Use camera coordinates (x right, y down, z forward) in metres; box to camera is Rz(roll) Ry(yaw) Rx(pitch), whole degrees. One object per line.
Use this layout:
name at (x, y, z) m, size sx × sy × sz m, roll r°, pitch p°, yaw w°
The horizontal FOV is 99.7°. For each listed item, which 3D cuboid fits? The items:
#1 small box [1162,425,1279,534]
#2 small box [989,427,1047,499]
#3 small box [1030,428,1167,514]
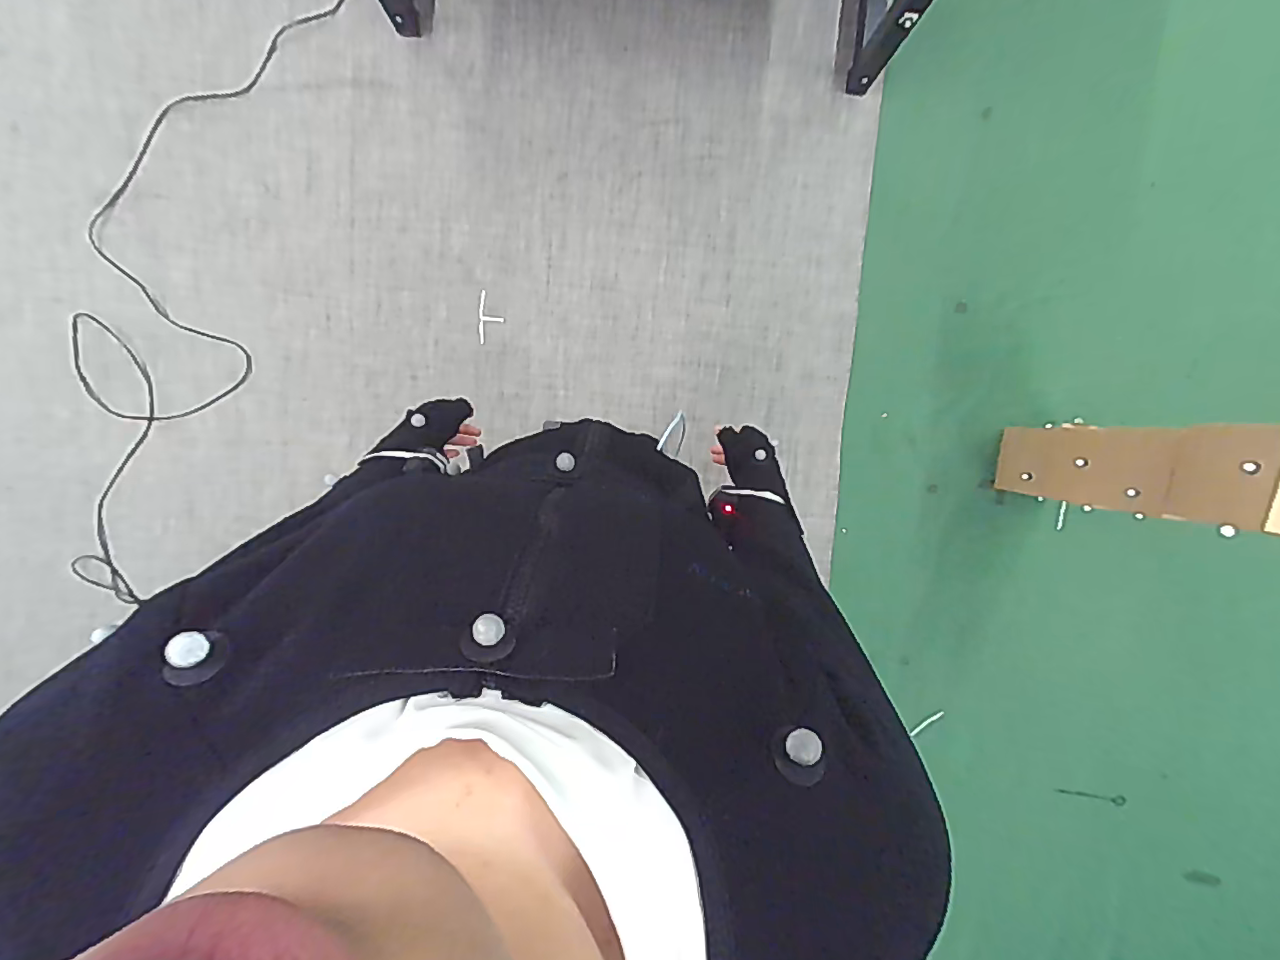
small box at (1.084, 0.000, 0.951) m, size 0.168 × 0.176 × 0.179 m, roll 8°, pitch 95°, yaw -3°
small box at (1.071, -0.046, 1.440) m, size 0.168 × 0.176 × 0.179 m, roll 6°, pitch 97°, yaw -3°
small box at (1.070, -0.027, 1.278) m, size 0.168 × 0.176 × 0.179 m, roll 7°, pitch 96°, yaw -3°
